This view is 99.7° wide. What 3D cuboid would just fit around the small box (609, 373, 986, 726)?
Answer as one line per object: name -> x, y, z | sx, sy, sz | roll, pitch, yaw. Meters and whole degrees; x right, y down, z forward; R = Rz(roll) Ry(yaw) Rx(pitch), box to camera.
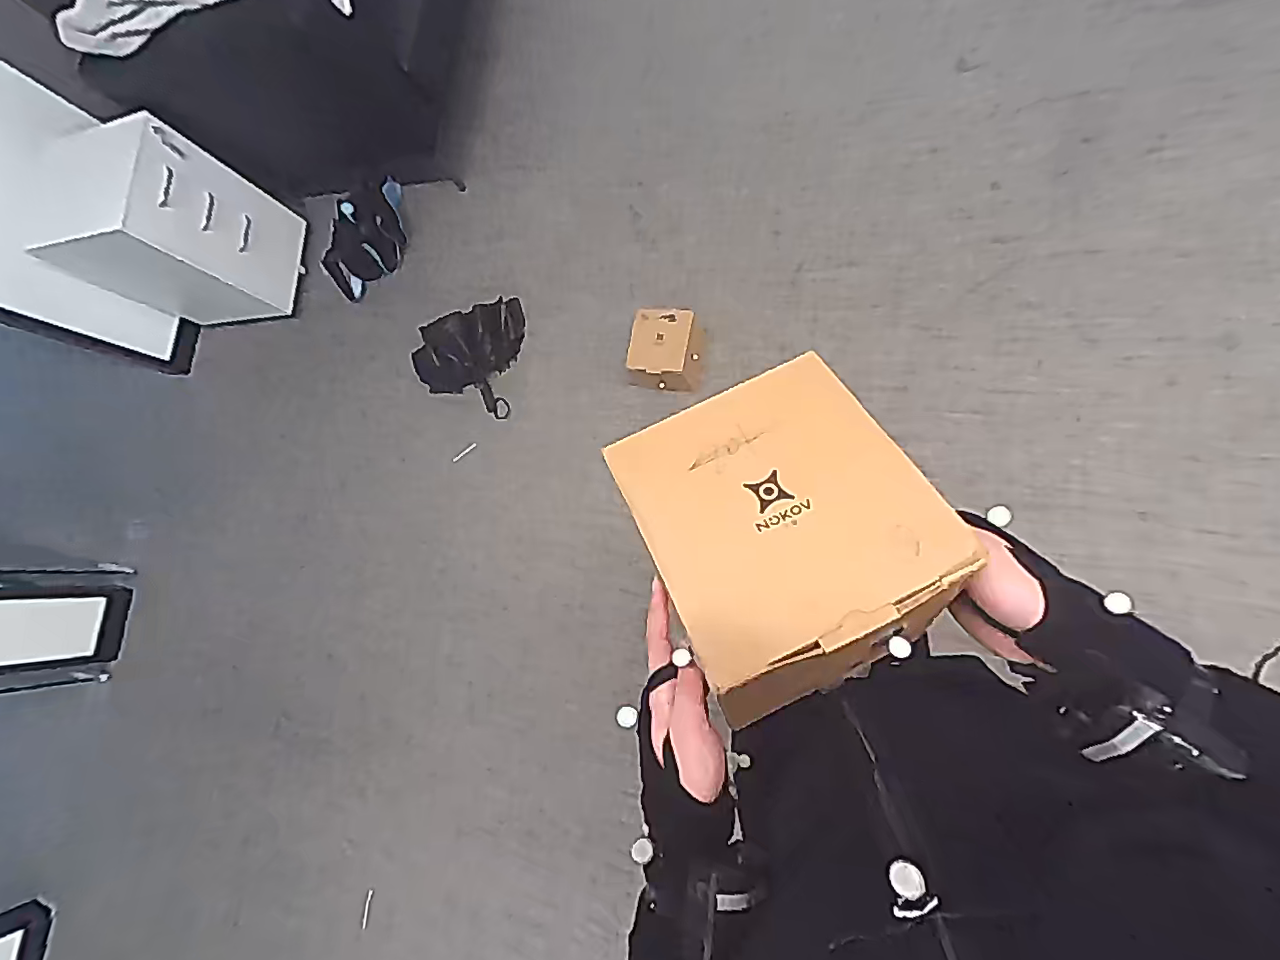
small box -> 0.099, 0.062, 0.398 | 0.168, 0.176, 0.179 | -25, 56, -4
